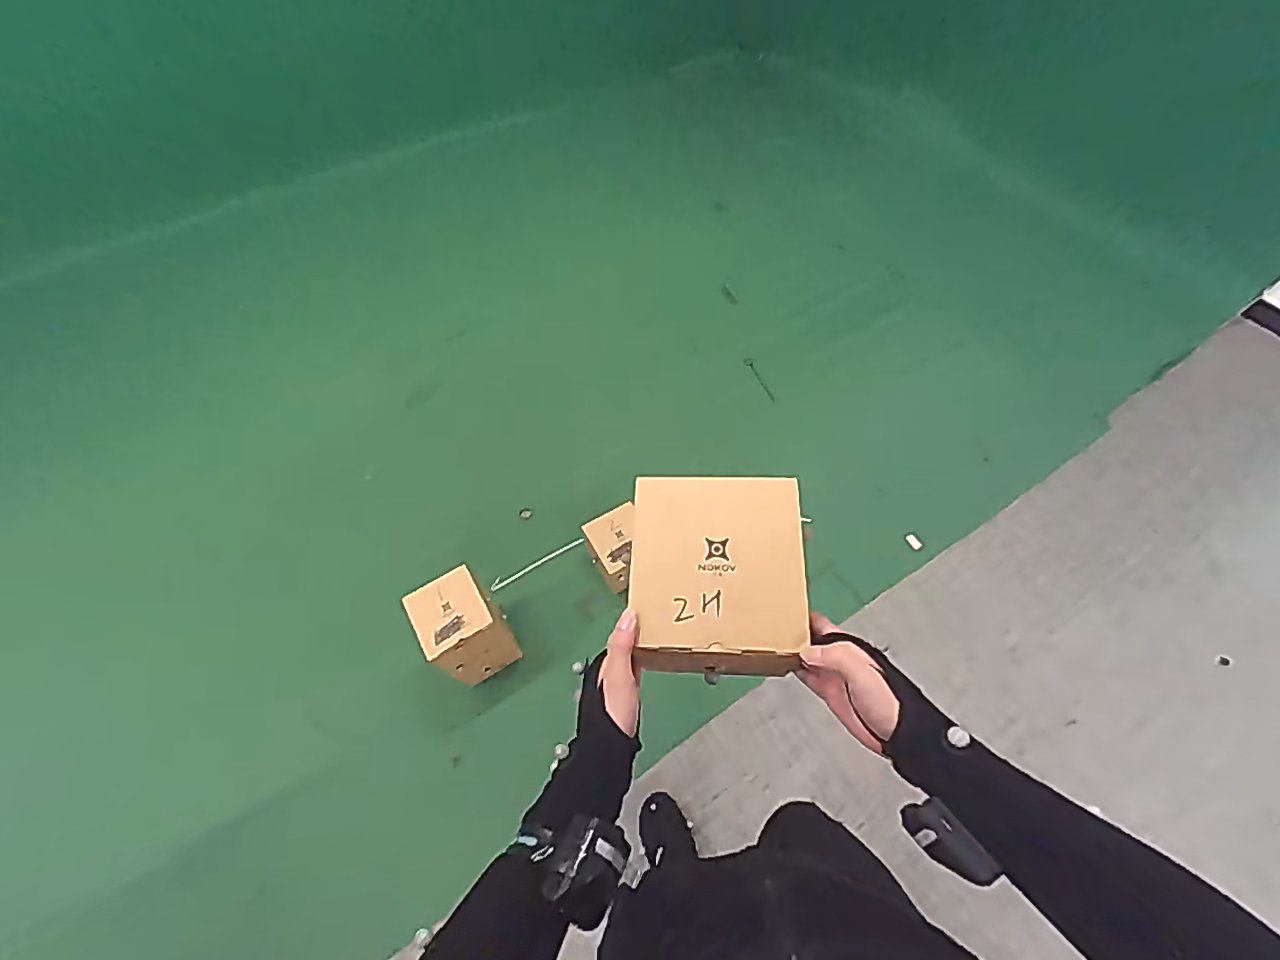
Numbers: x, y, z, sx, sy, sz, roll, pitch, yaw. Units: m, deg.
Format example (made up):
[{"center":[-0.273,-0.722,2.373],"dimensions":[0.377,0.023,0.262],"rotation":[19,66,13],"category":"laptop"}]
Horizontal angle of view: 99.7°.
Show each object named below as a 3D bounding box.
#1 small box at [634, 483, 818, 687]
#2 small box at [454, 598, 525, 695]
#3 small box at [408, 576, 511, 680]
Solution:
[{"center":[0.087,0.118,0.585],"dimensions":[0.168,0.176,0.179],"rotation":[1,64,7],"category":"small box"},{"center":[-0.433,0.457,1.474],"dimensions":[0.168,0.176,0.179],"rotation":[-29,63,-15],"category":"small box"},{"center":[-0.437,0.372,1.334],"dimensions":[0.168,0.176,0.179],"rotation":[-29,61,-16],"category":"small box"}]
